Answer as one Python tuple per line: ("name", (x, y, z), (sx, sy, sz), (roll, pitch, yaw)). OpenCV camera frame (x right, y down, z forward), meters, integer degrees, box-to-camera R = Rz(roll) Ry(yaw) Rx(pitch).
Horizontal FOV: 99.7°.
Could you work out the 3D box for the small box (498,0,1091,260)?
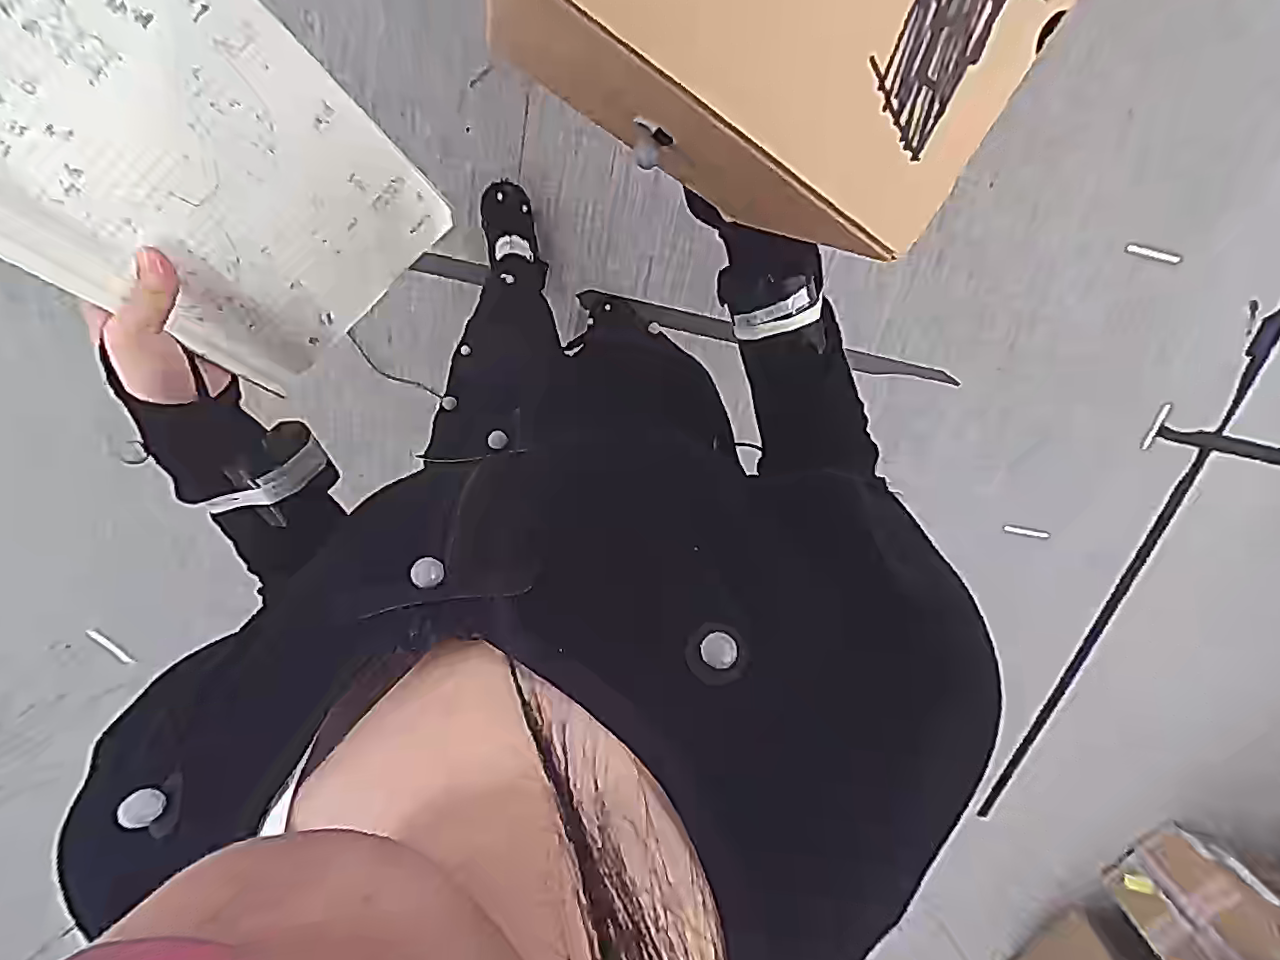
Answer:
("small box", (0.056, -0.221, 0.218), (0.179, 0.176, 0.168), (23, 111, -25))
